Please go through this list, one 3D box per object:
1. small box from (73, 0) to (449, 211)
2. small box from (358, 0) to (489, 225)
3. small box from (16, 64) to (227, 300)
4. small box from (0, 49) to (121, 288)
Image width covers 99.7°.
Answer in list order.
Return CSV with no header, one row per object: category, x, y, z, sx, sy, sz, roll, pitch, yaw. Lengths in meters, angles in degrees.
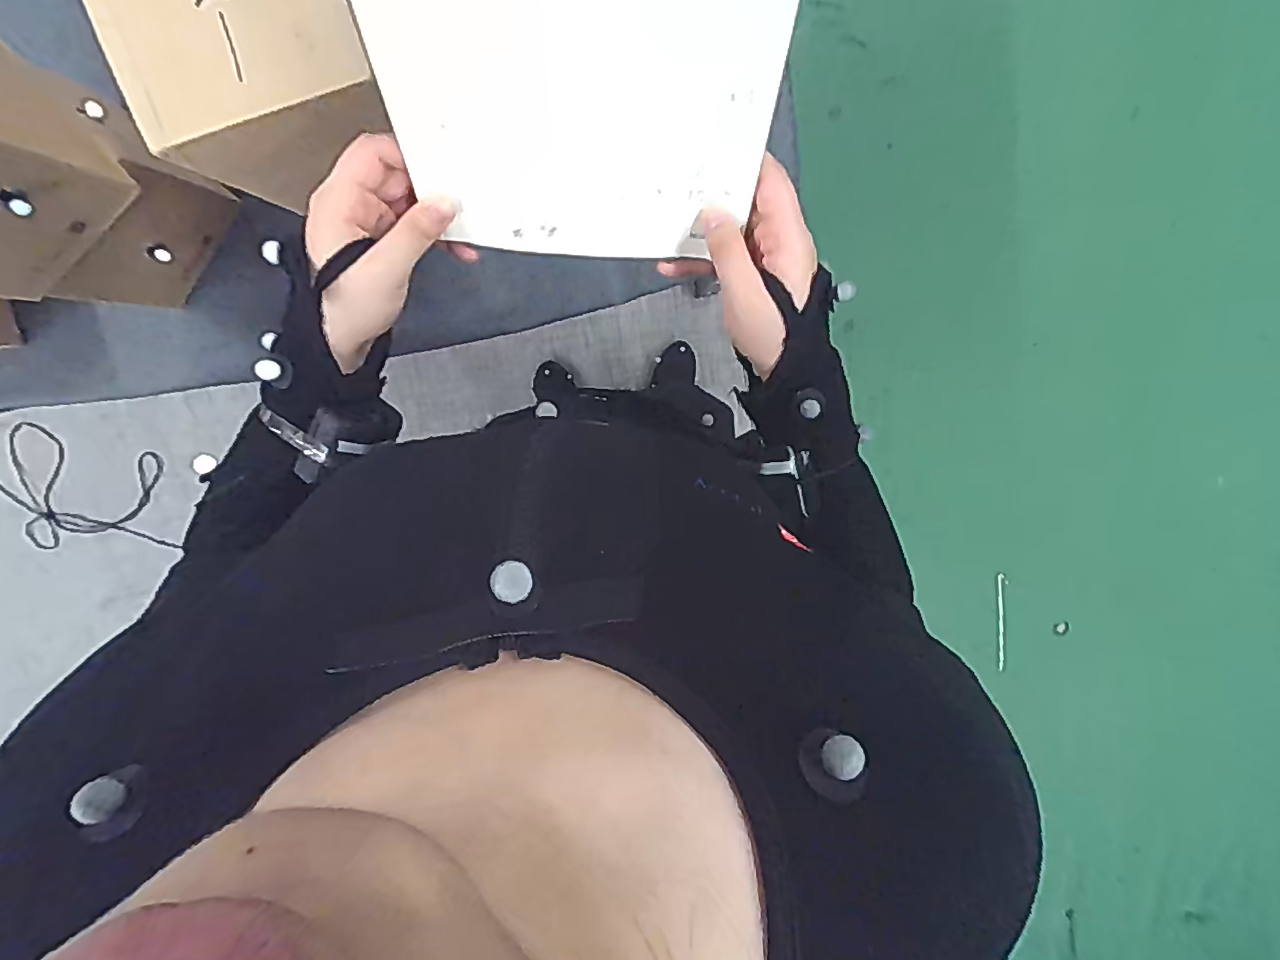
small box,-0.274,-0.335,0.412,0.168,0.176,0.179,-15,103,5
small box,-0.277,-0.388,0.568,0.179,0.176,0.168,18,103,-3
small box,-0.612,-0.314,0.586,0.179,0.176,0.168,38,100,-9
small box,-0.594,-0.271,0.429,0.168,0.176,0.179,-38,100,8
